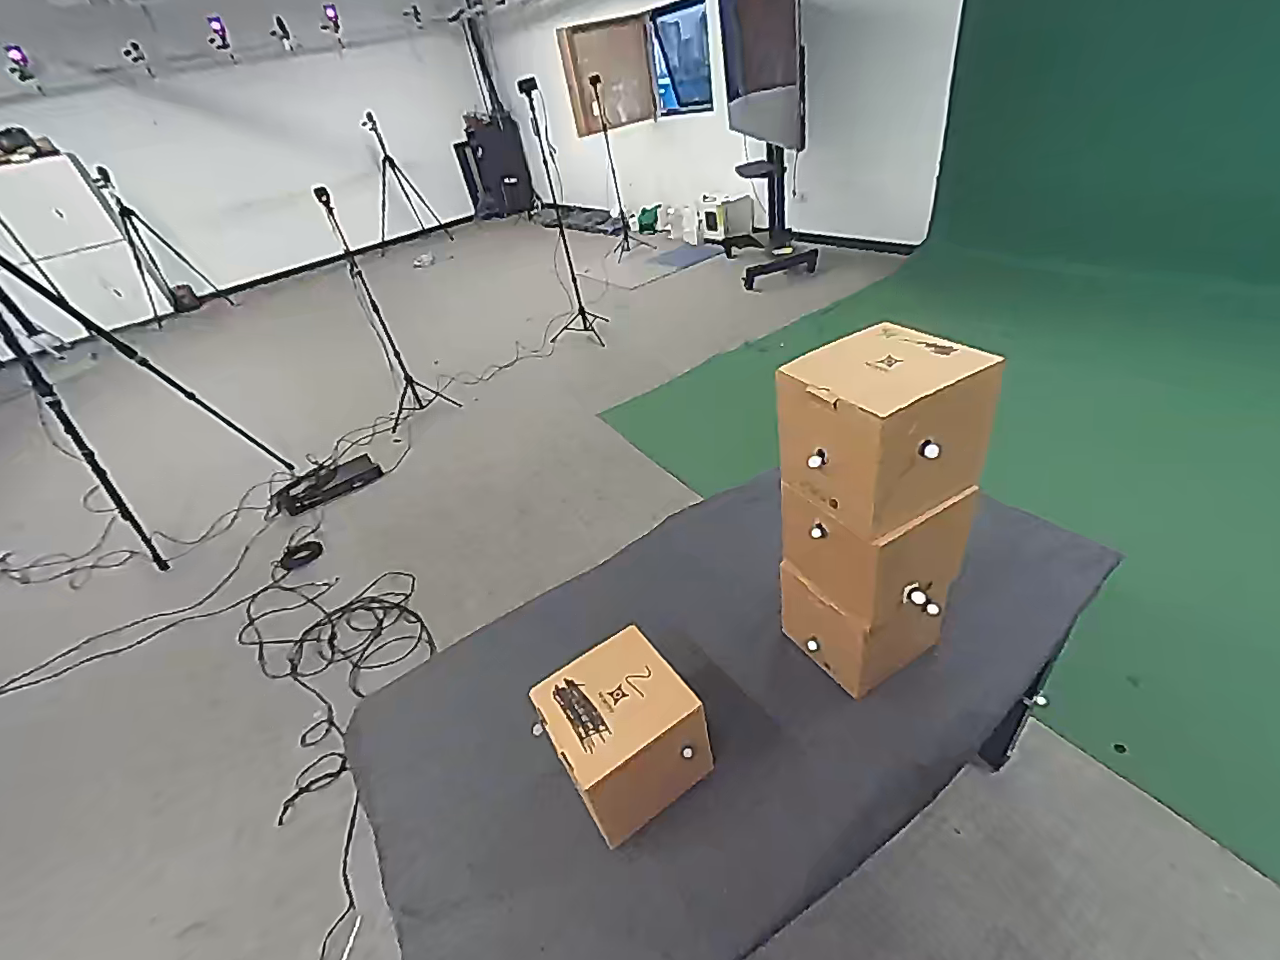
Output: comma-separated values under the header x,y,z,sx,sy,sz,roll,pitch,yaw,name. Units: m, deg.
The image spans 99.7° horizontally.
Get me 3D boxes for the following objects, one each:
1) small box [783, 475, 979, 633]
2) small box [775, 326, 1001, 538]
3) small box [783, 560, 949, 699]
x,y,z,sx,sy,sz,roll,pitch,yaw,name
0.316,0.072,0.743,0.168,0.176,0.179,-26,39,-15,small box
0.287,-0.059,0.650,0.179,0.176,0.168,-25,37,-14,small box
0.342,0.197,0.844,0.179,0.176,0.168,-26,37,-18,small box
